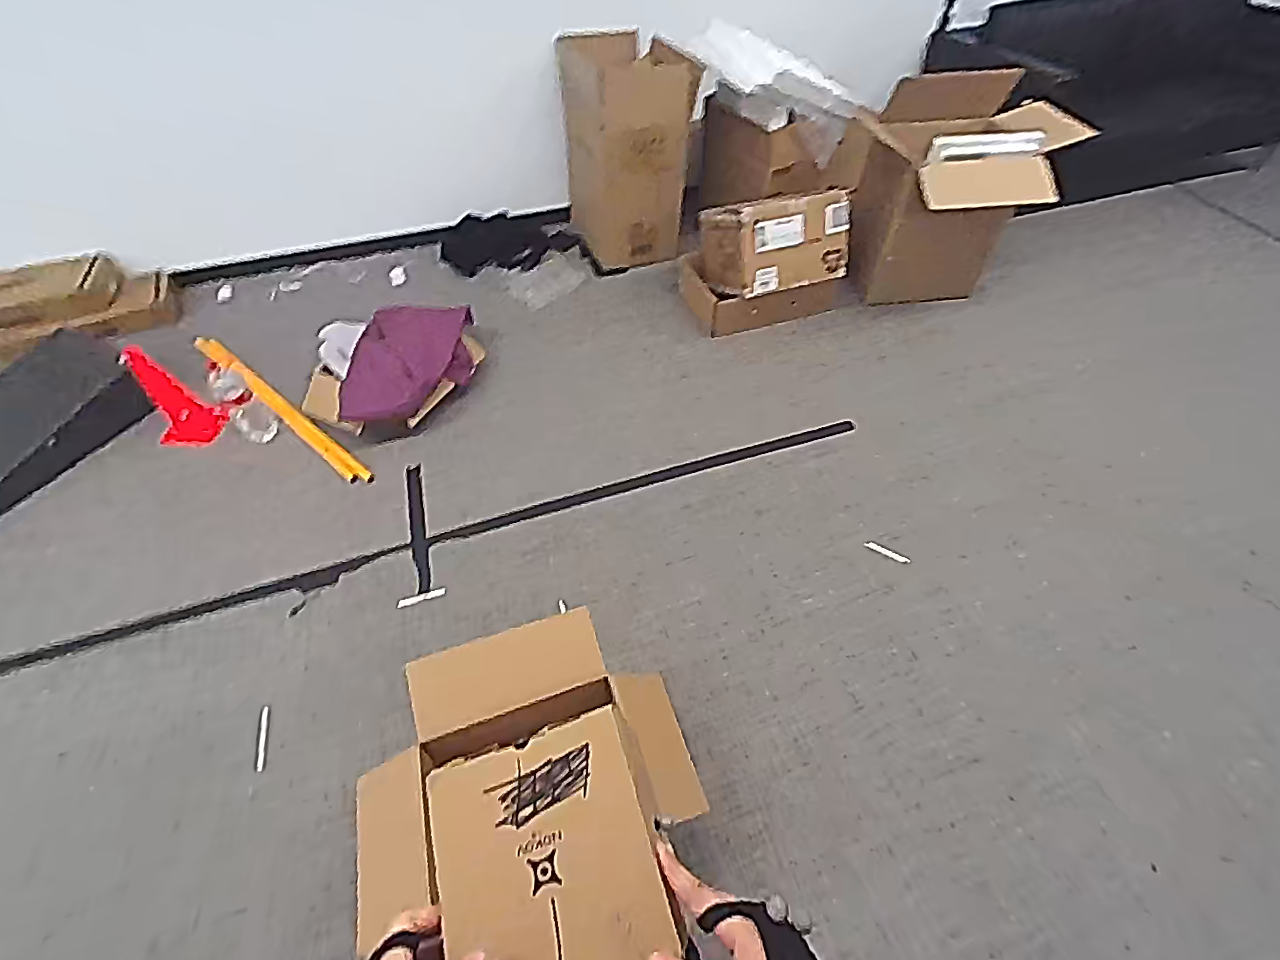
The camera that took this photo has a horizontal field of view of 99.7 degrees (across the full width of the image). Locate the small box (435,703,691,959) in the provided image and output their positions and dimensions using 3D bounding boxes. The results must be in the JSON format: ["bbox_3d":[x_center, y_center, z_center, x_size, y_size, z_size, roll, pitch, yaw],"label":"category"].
[{"bbox_3d":[-0.061,0.326,0.480,0.168,0.176,0.179,-20,58,-5],"label":"small box"}]
